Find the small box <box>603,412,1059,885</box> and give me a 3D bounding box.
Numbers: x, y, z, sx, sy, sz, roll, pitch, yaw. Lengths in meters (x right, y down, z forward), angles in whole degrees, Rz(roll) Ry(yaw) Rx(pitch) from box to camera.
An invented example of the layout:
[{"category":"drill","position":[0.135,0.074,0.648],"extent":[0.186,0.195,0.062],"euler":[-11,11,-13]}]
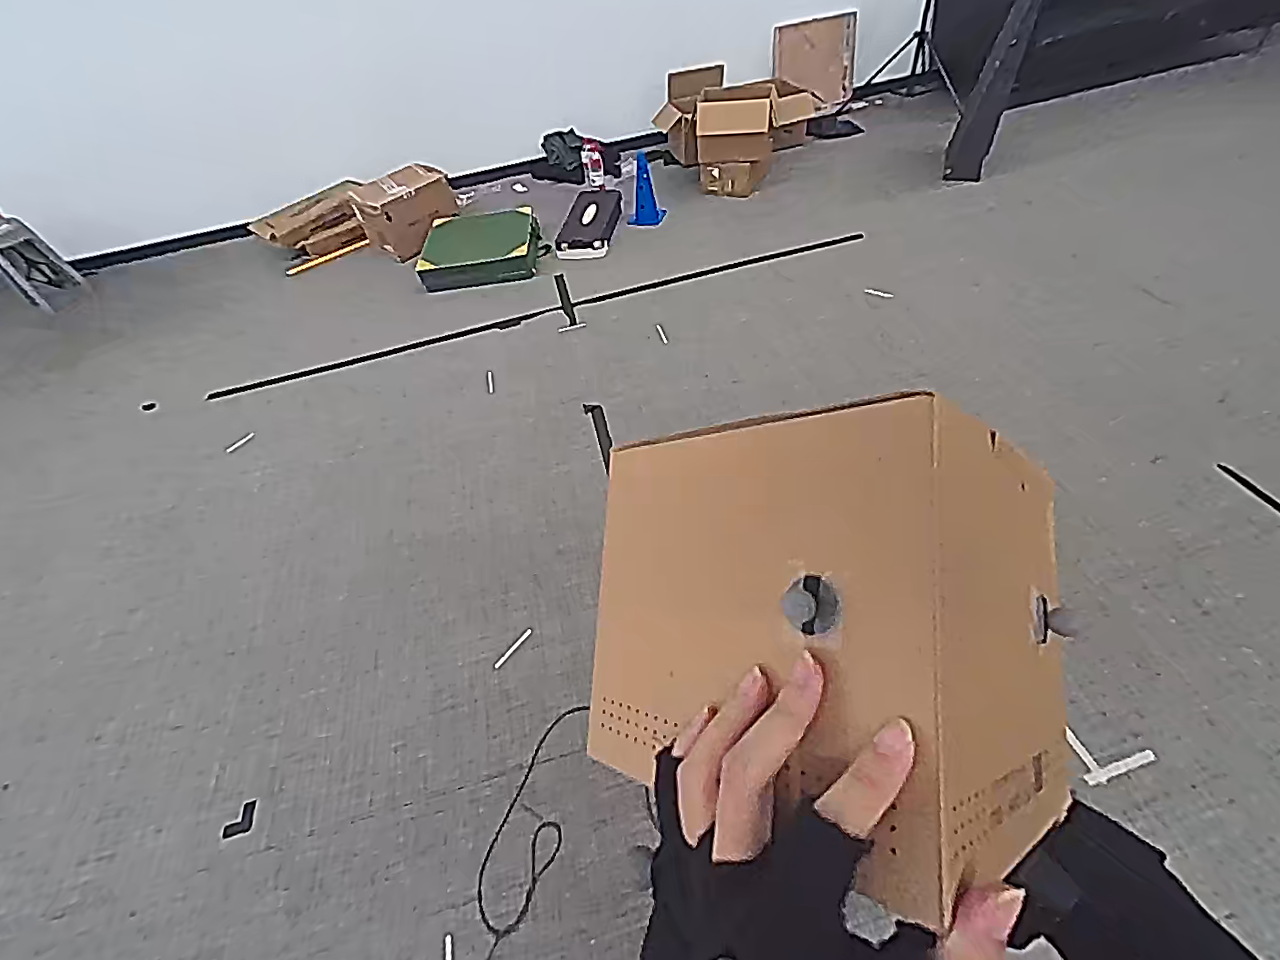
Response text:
[{"category":"small box","position":[0.097,0.075,0.288],"extent":[0.179,0.168,0.176],"euler":[-7,75,49]}]
